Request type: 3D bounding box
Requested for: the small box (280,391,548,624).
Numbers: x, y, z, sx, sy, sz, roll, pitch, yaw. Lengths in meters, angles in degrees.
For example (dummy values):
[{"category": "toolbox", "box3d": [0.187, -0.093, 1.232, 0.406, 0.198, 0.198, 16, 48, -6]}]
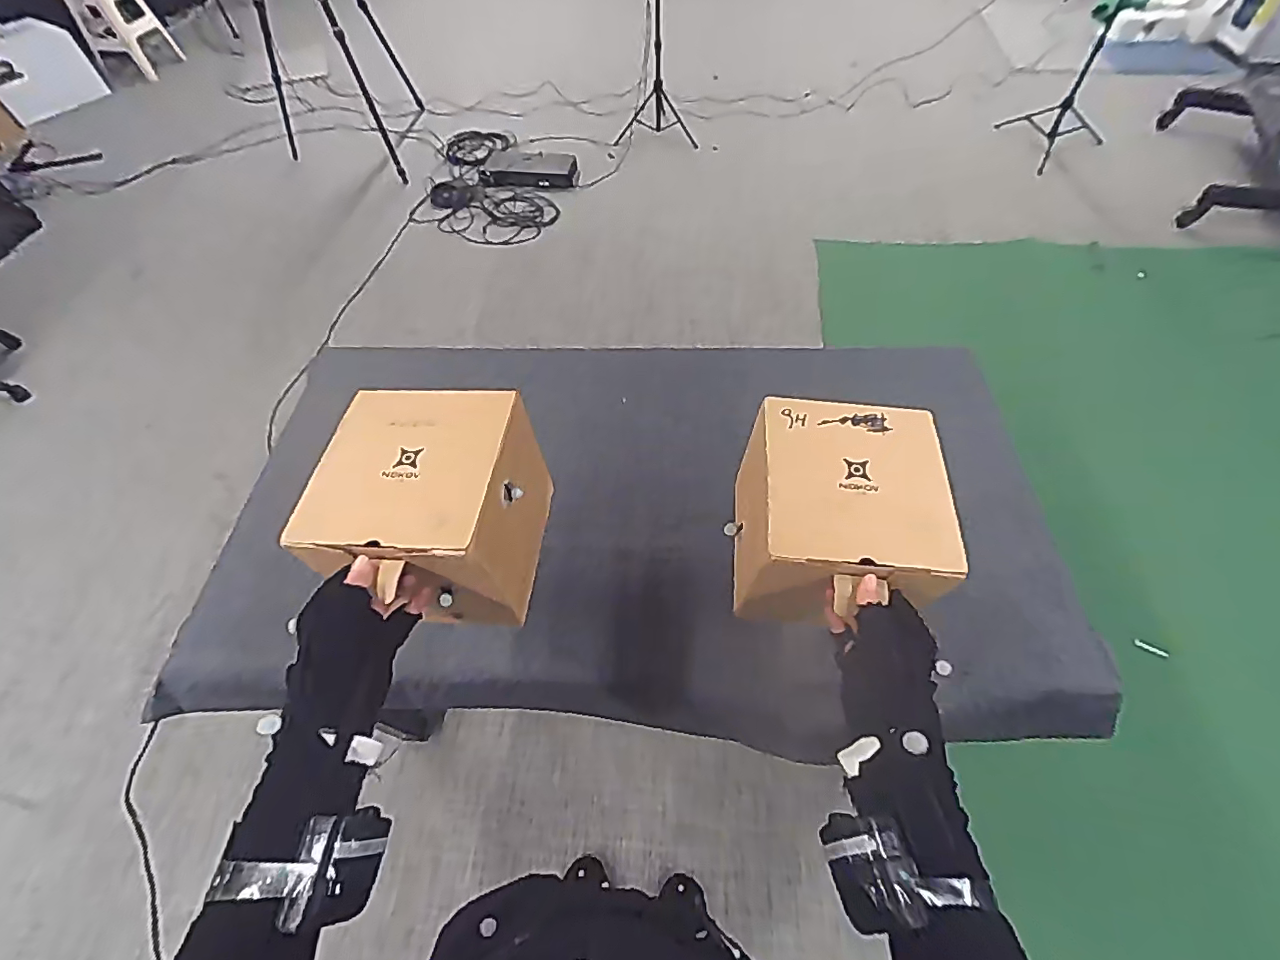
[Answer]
[{"category": "small box", "box3d": [-0.199, 0.032, 0.540, 0.168, 0.176, 0.179, 1, 54, 6]}]
